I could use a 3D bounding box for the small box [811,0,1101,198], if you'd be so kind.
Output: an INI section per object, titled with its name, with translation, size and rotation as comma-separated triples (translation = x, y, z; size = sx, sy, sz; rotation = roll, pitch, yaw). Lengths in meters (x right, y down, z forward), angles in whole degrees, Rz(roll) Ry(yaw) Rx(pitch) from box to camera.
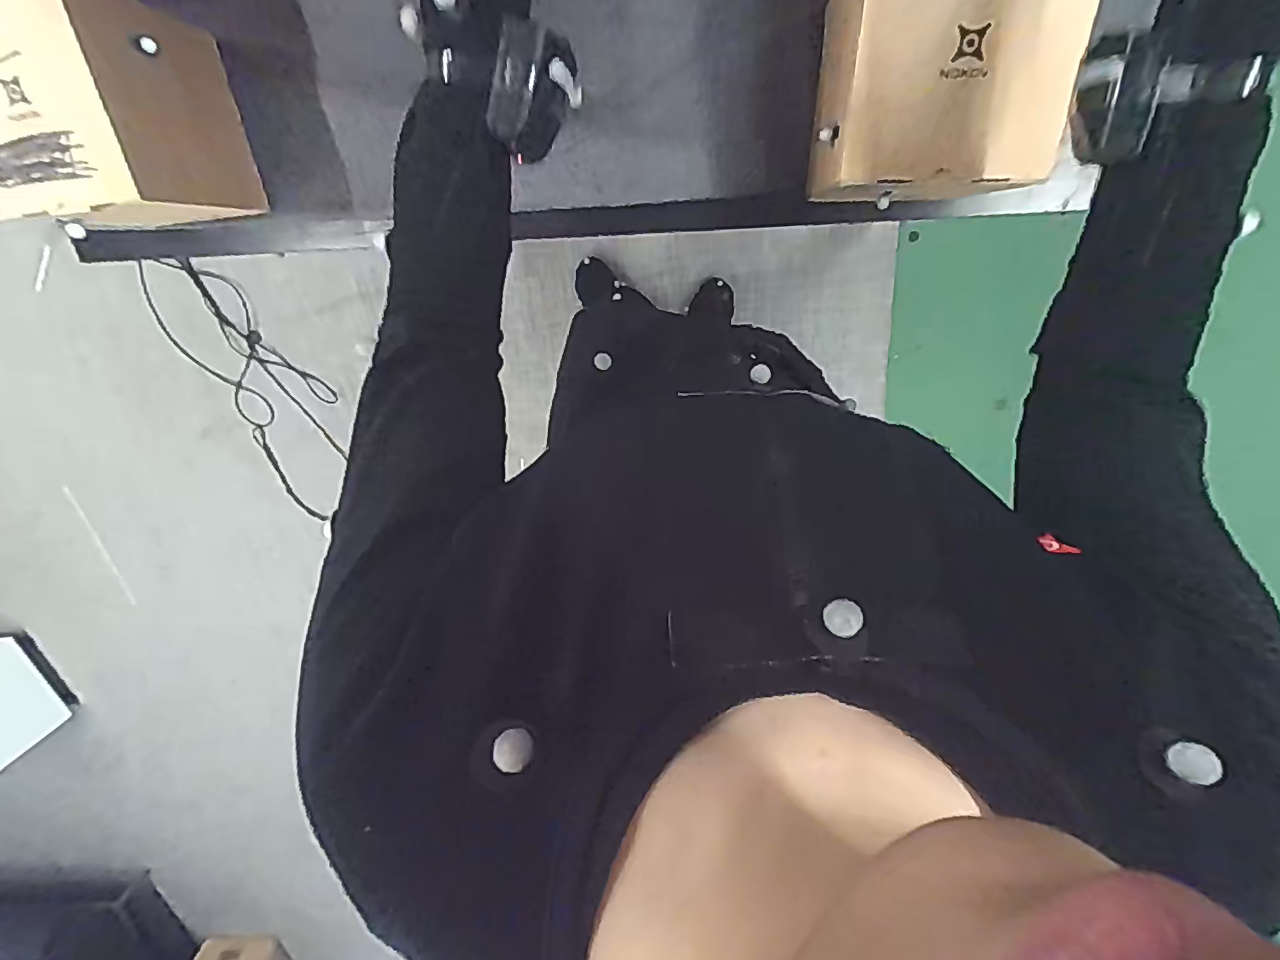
[small box]
translation = 0.256, -0.354, 0.478
size = 0.168, 0.176, 0.179
rotation = 3, 115, 6
